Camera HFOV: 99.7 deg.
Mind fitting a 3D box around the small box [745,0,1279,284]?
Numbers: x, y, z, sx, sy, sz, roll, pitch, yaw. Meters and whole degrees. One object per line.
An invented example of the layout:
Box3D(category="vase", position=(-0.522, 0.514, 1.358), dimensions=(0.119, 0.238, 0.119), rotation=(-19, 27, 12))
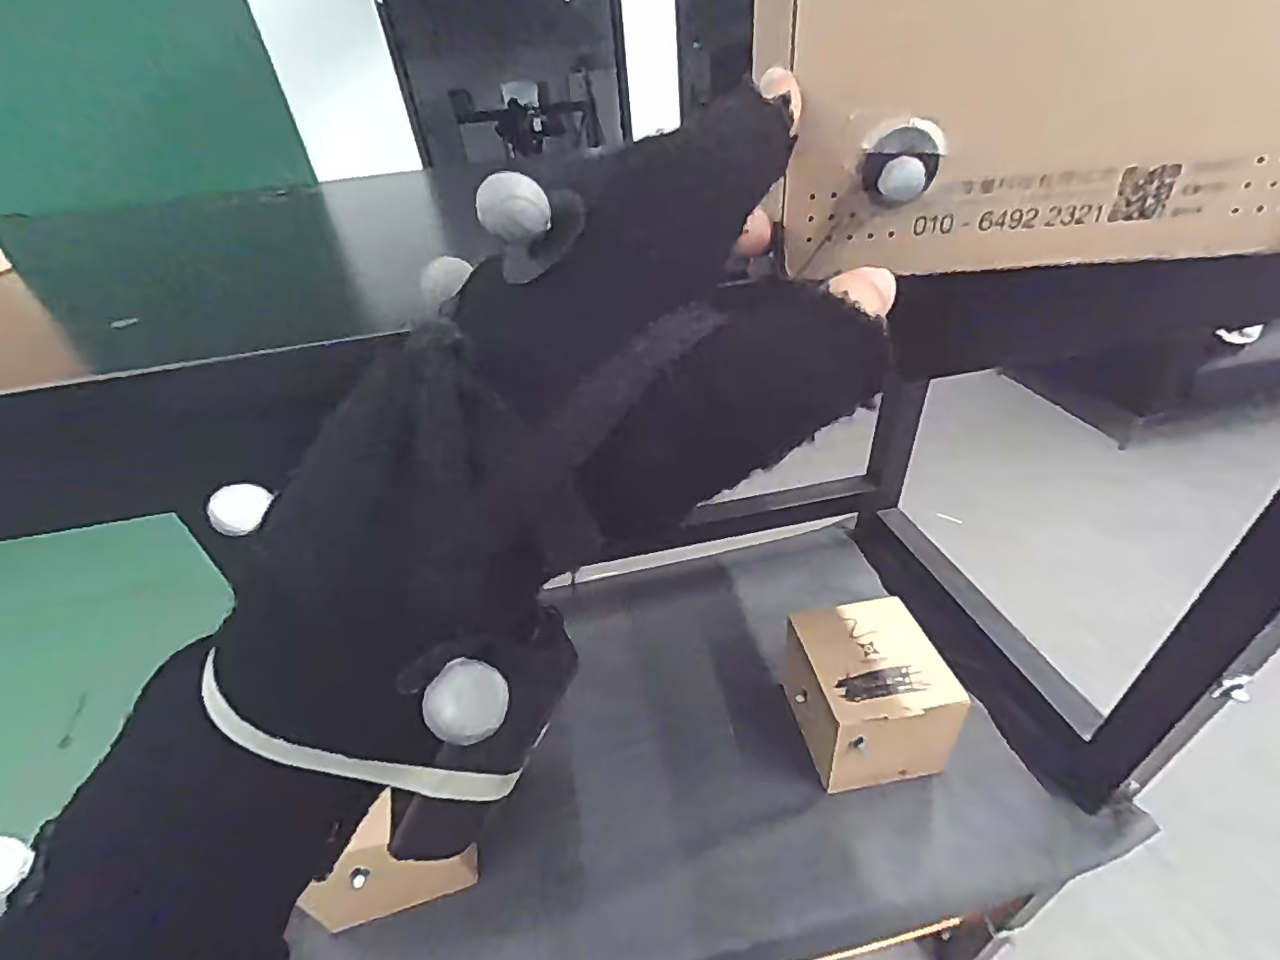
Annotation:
Box3D(category="small box", position=(0.126, -0.177, 0.198), dimensions=(0.168, 0.176, 0.179), rotation=(0, 35, 8))

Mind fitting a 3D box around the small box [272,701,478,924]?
Box3D(category="small box", position=(-0.317, 0.422, 0.690), dimensions=(0.179, 0.176, 0.168), rotation=(-13, 36, -10))
